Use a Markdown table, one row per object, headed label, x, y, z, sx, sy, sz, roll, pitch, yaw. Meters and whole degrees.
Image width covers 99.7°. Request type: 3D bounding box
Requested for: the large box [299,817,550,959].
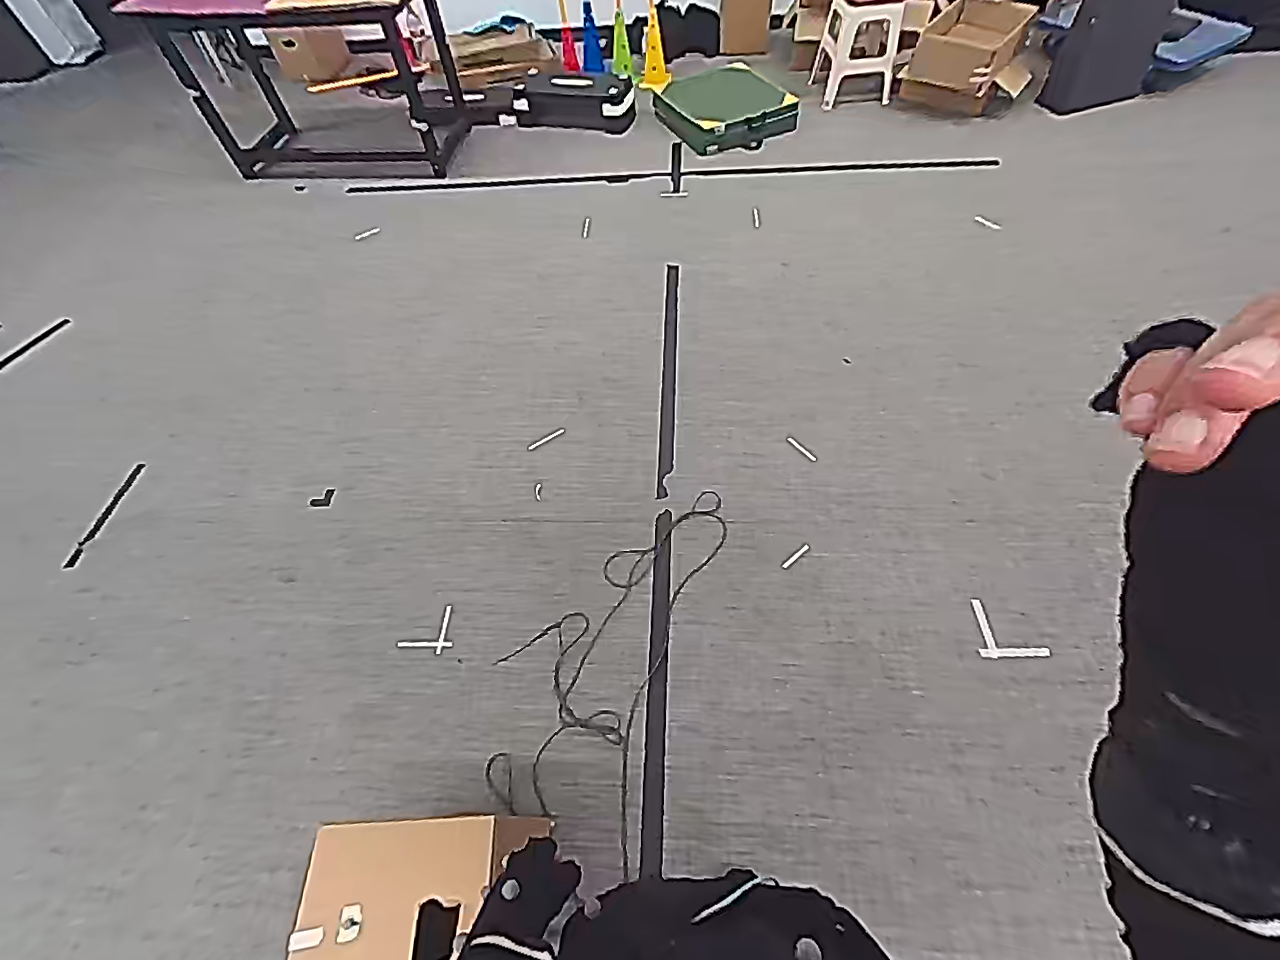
| label | x | y | z | sx | sy | sz | roll | pitch | yaw |
| --- | --- | --- | --- | --- | --- | --- | --- | --- | --- |
| large box | -0.370 | 0.822 | 1.006 | 0.320 | 0.408 | 0.320 | -4 | 57 | 3 |
